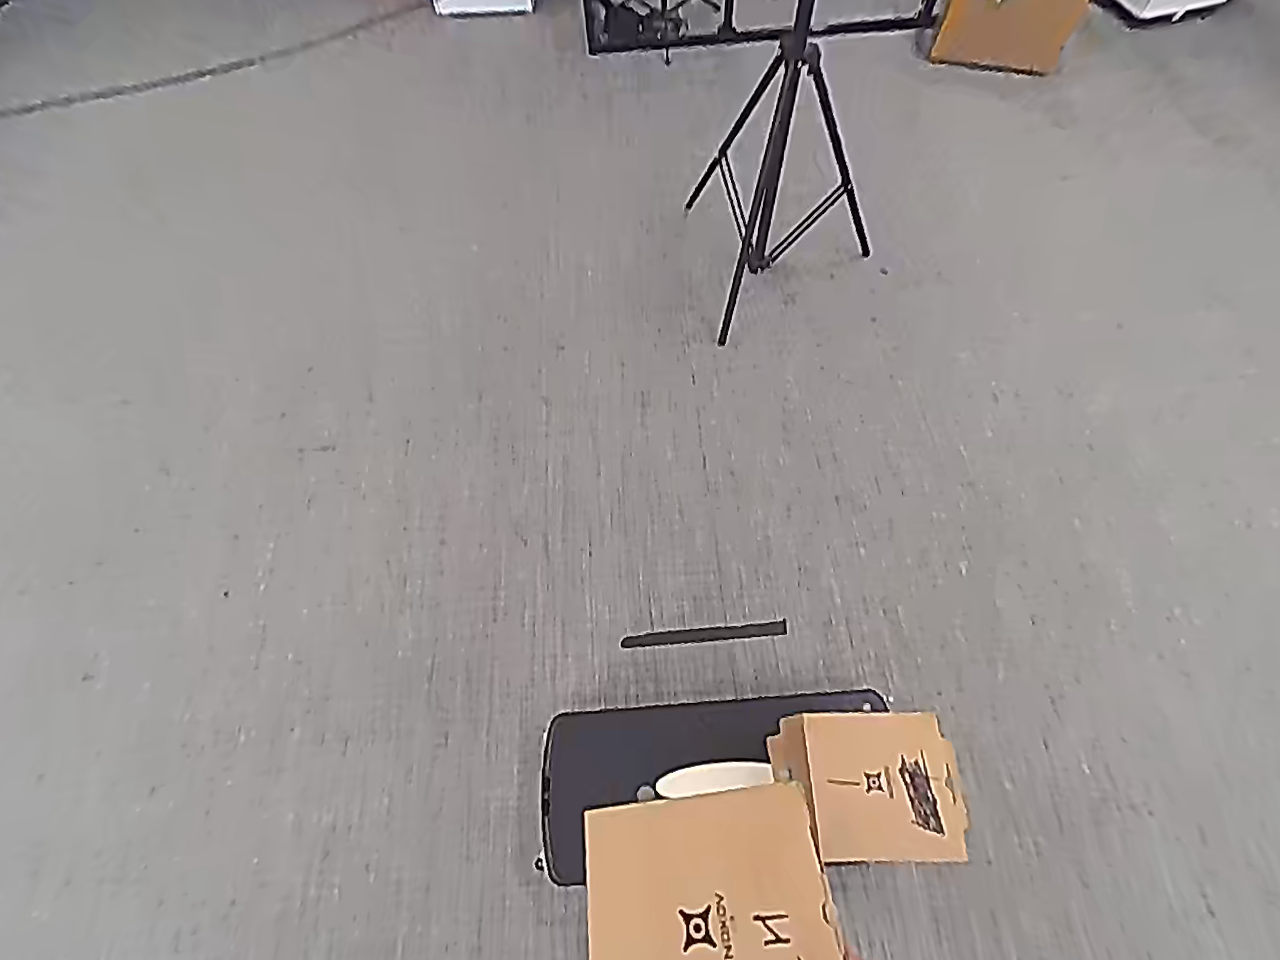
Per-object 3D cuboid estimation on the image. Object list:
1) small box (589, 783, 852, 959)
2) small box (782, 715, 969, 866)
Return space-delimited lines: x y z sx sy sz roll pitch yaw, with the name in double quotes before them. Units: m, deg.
"small box" 0.065 0.359 0.433 0.179 0.176 0.168 -10 51 4
"small box" 0.307 0.418 0.747 0.179 0.176 0.168 -1 63 3
